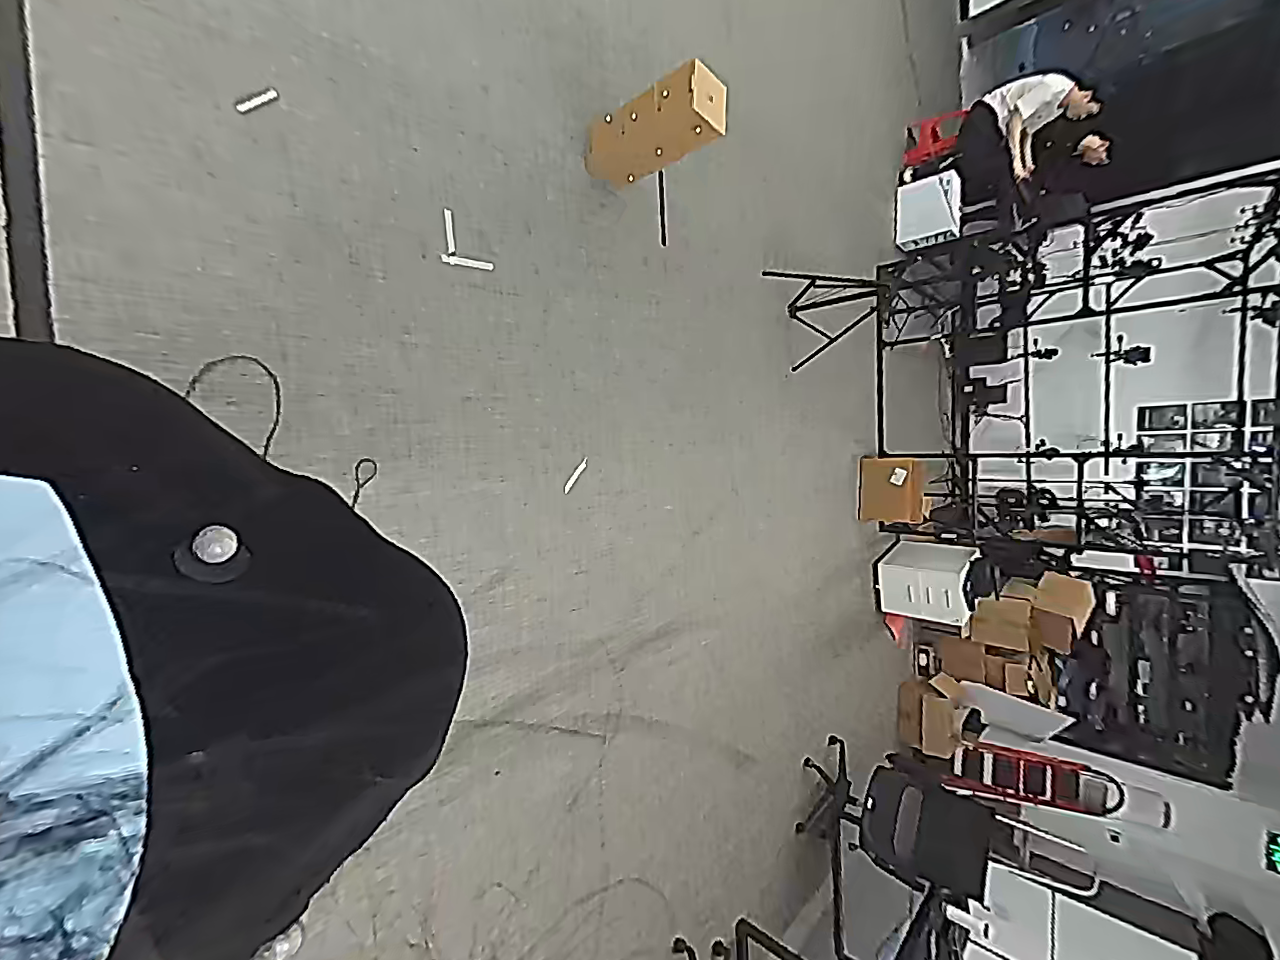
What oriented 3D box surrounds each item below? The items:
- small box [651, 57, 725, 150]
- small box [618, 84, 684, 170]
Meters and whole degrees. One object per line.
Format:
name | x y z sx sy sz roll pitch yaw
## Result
small box | 0.159 -1.226 1.783 0.179 0.176 0.168 3 88 -47
small box | 0.039 -1.223 1.892 0.179 0.176 0.168 4 89 -47
